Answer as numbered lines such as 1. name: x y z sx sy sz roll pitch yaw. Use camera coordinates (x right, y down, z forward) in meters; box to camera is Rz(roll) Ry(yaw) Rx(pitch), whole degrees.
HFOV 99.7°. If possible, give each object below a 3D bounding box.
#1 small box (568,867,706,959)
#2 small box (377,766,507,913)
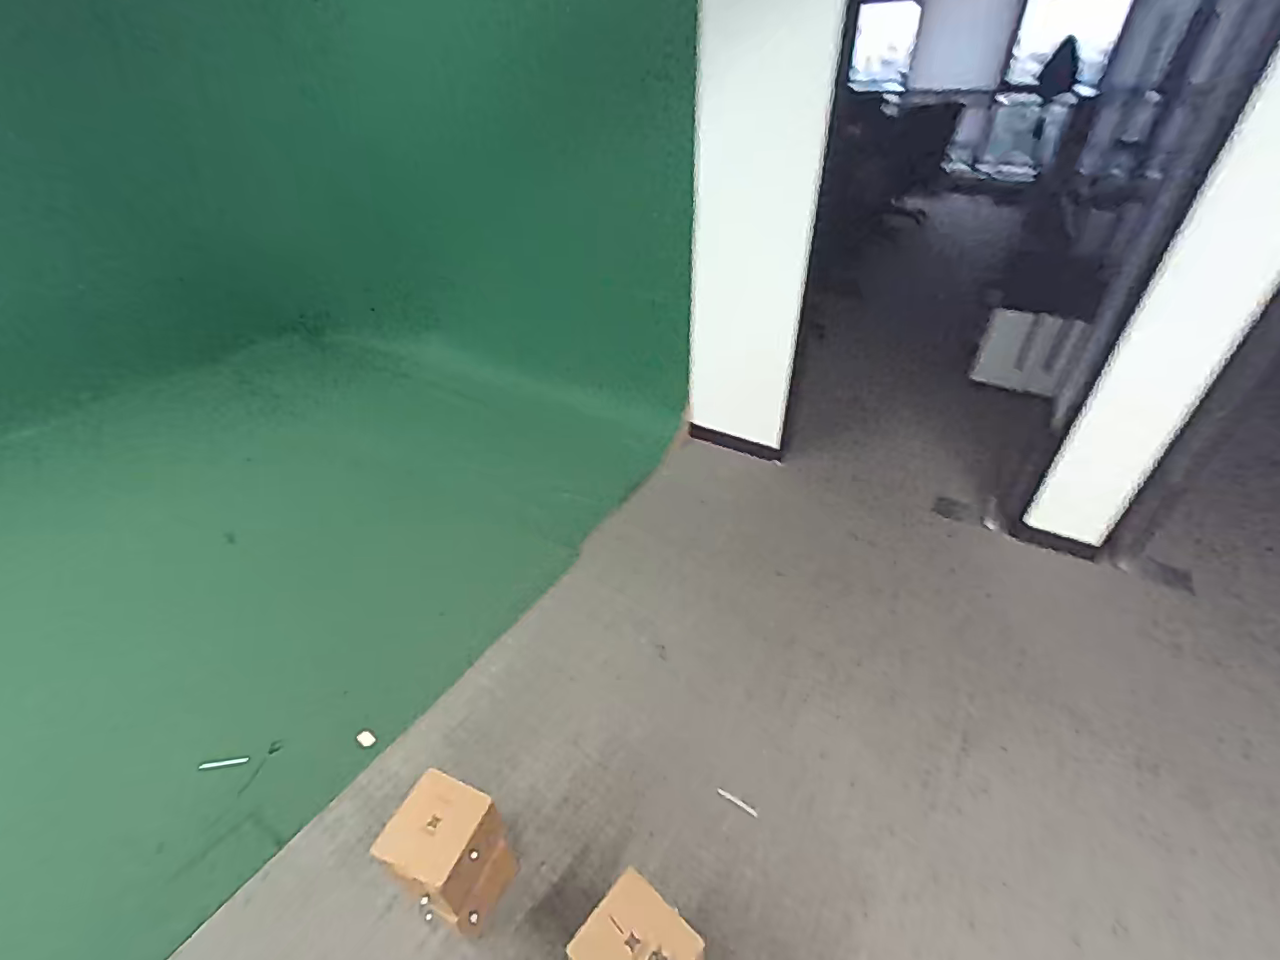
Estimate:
1. small box: -0.001 0.846 0.956 0.179 0.176 0.168 27 46 34
2. small box: -0.396 0.743 1.116 0.168 0.176 0.179 14 40 20
